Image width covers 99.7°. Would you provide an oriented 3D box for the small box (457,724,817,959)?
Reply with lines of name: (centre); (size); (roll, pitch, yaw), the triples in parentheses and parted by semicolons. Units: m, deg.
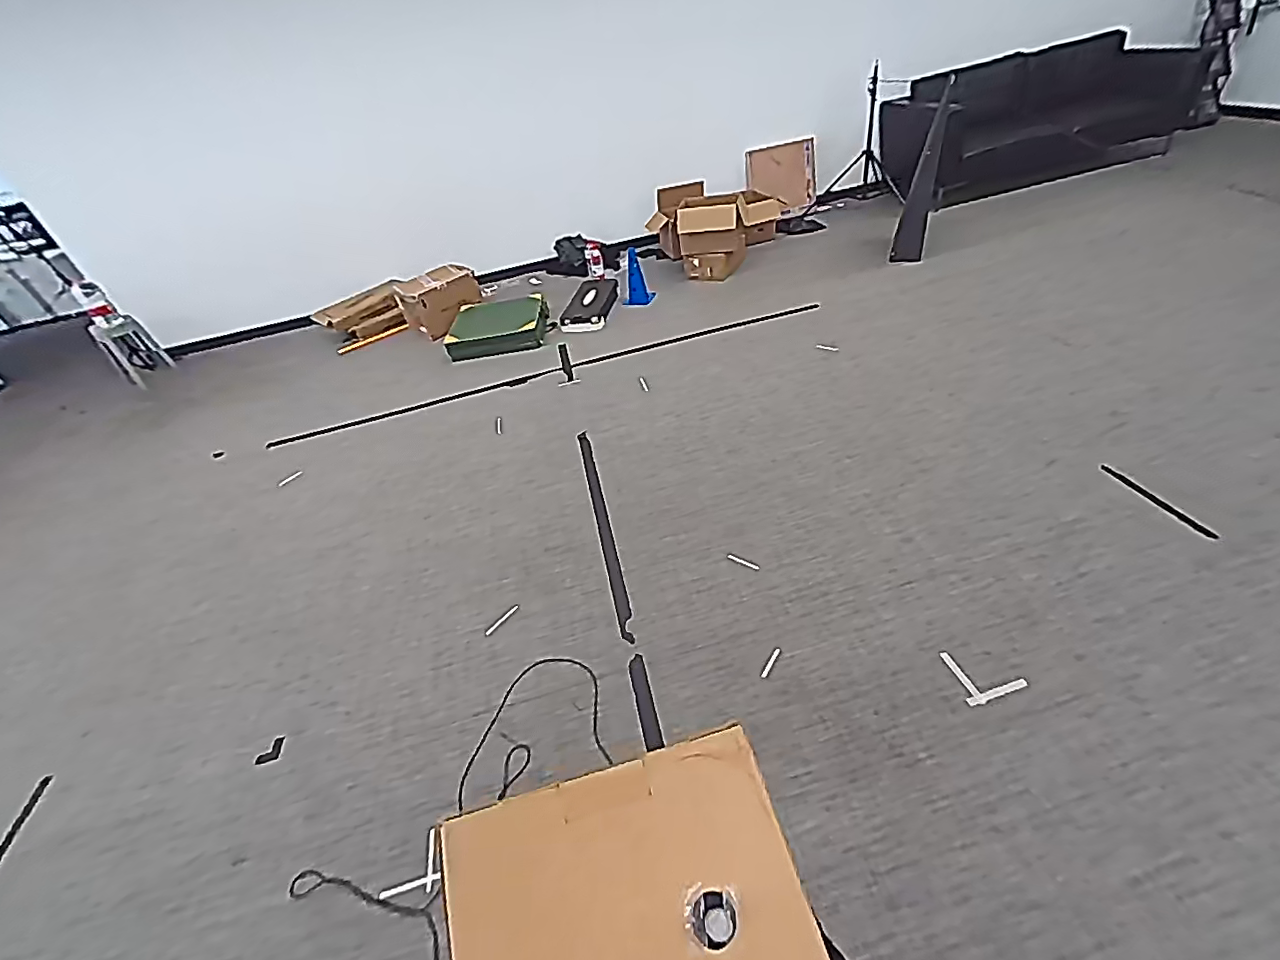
small box: (-0.001, 0.271, 0.335); (0.168, 0.179, 0.176); (-12, 62, -12)
